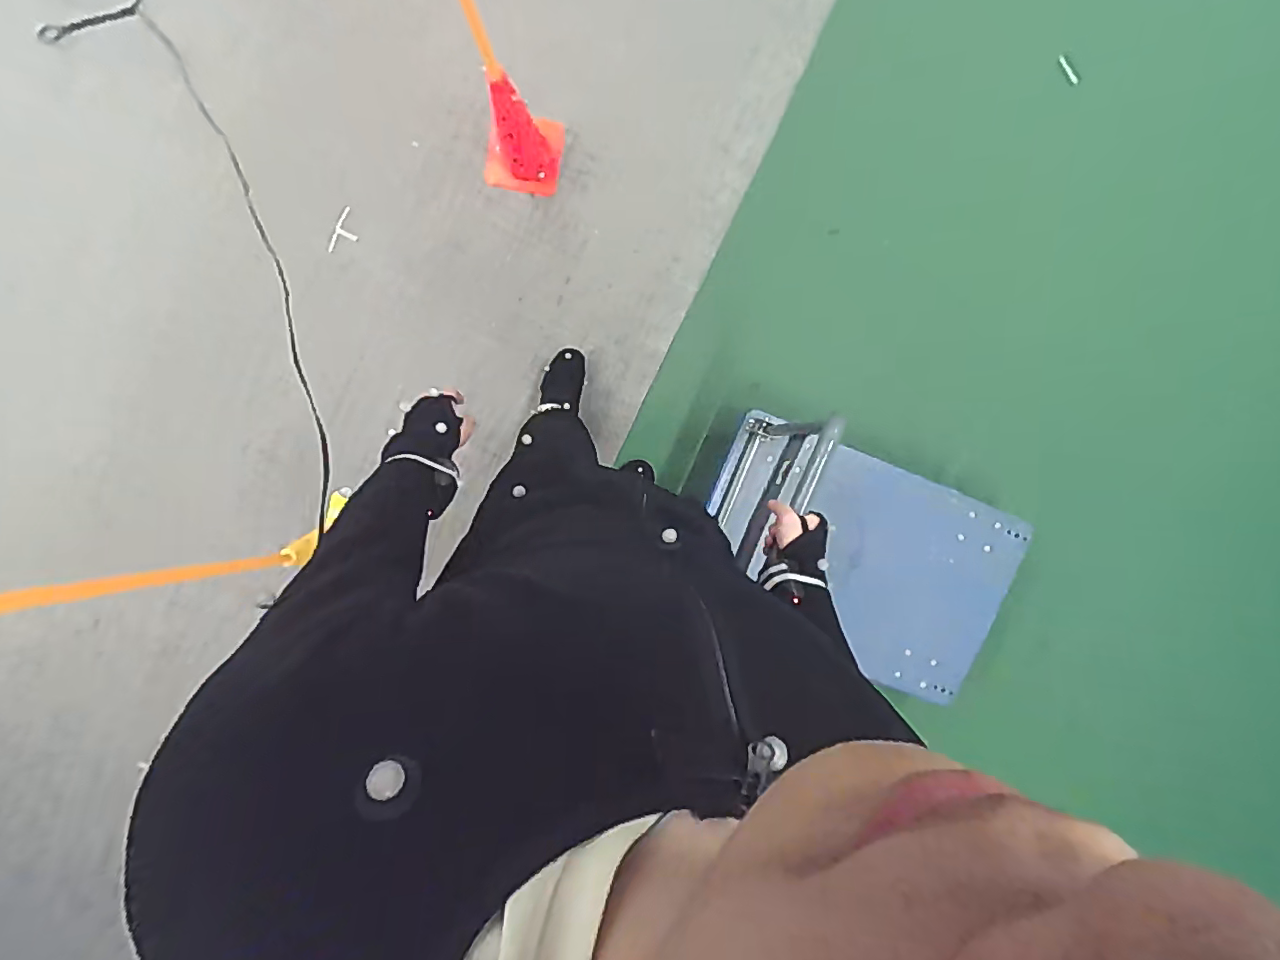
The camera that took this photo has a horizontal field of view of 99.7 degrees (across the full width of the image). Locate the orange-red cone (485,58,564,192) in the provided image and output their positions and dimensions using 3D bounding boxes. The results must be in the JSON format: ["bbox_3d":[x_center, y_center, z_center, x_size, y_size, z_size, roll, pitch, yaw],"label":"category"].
[{"bbox_3d":[-0.315,-0.906,1.337,0.198,0.360,0.199,11,94,-3],"label":"orange-red cone"}]
